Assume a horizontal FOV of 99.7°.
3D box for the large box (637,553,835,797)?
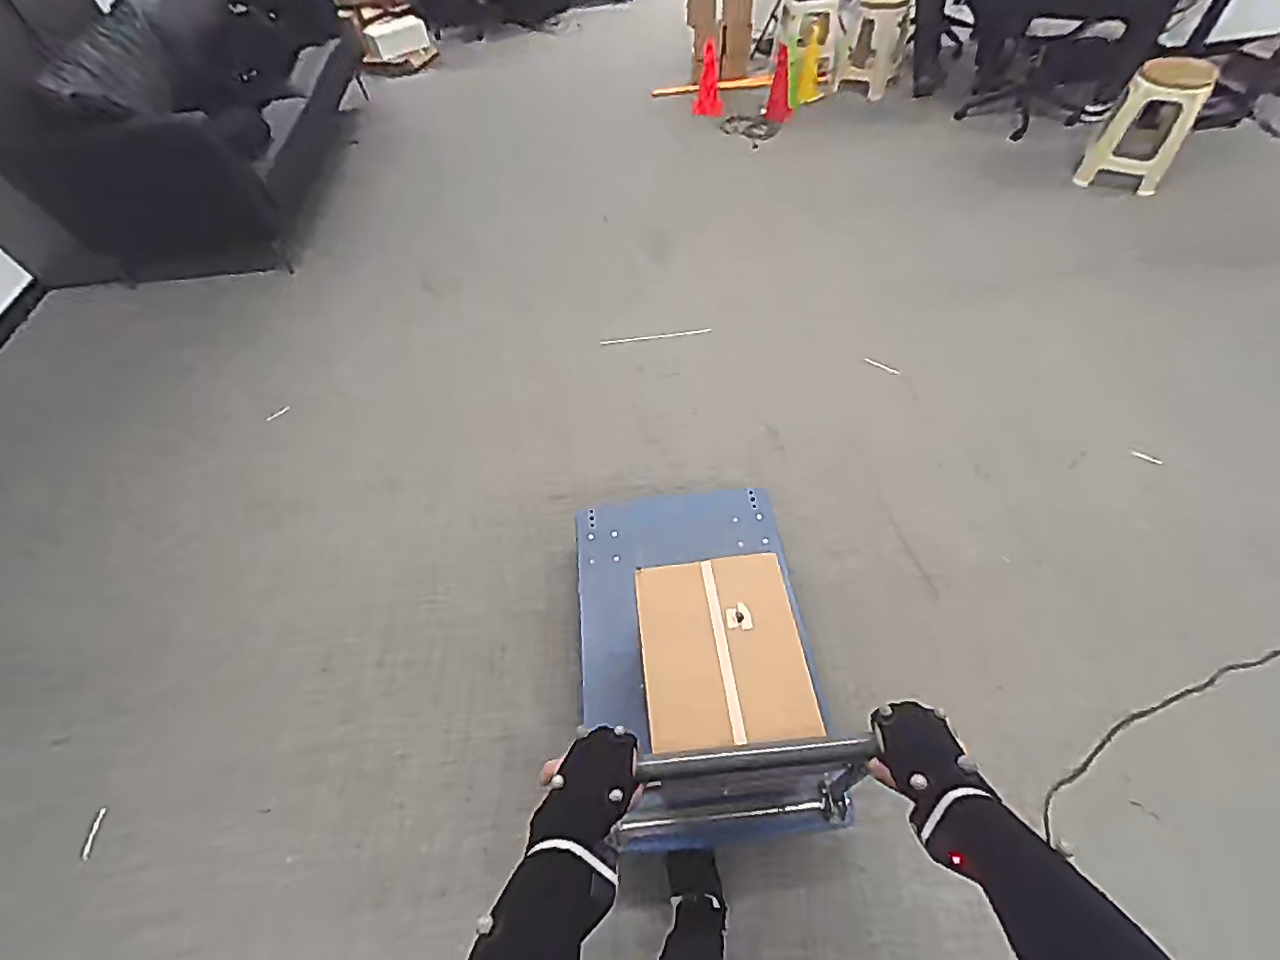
[{"bbox_3d":[0.179,0.422,1.168,0.320,0.320,0.408,-7,53,-1],"label":"large box"}]
